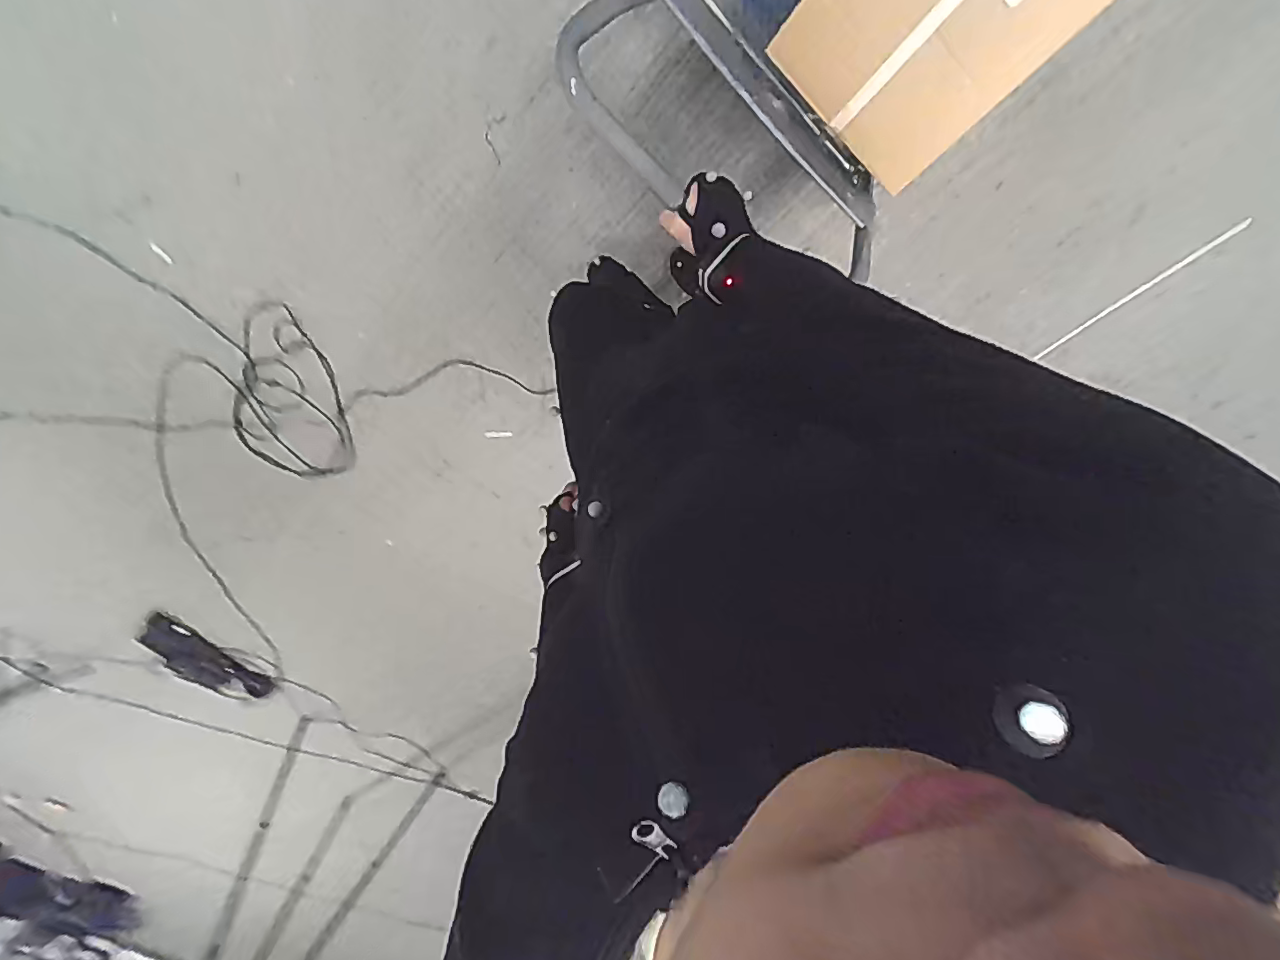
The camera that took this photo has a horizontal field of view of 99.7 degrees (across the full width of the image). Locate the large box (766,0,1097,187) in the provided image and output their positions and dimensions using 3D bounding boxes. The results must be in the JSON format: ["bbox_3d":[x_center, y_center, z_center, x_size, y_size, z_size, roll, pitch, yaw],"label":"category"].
[{"bbox_3d":[0.458,-0.765,0.839,0.320,0.320,0.408,38,133,-16],"label":"large box"}]
